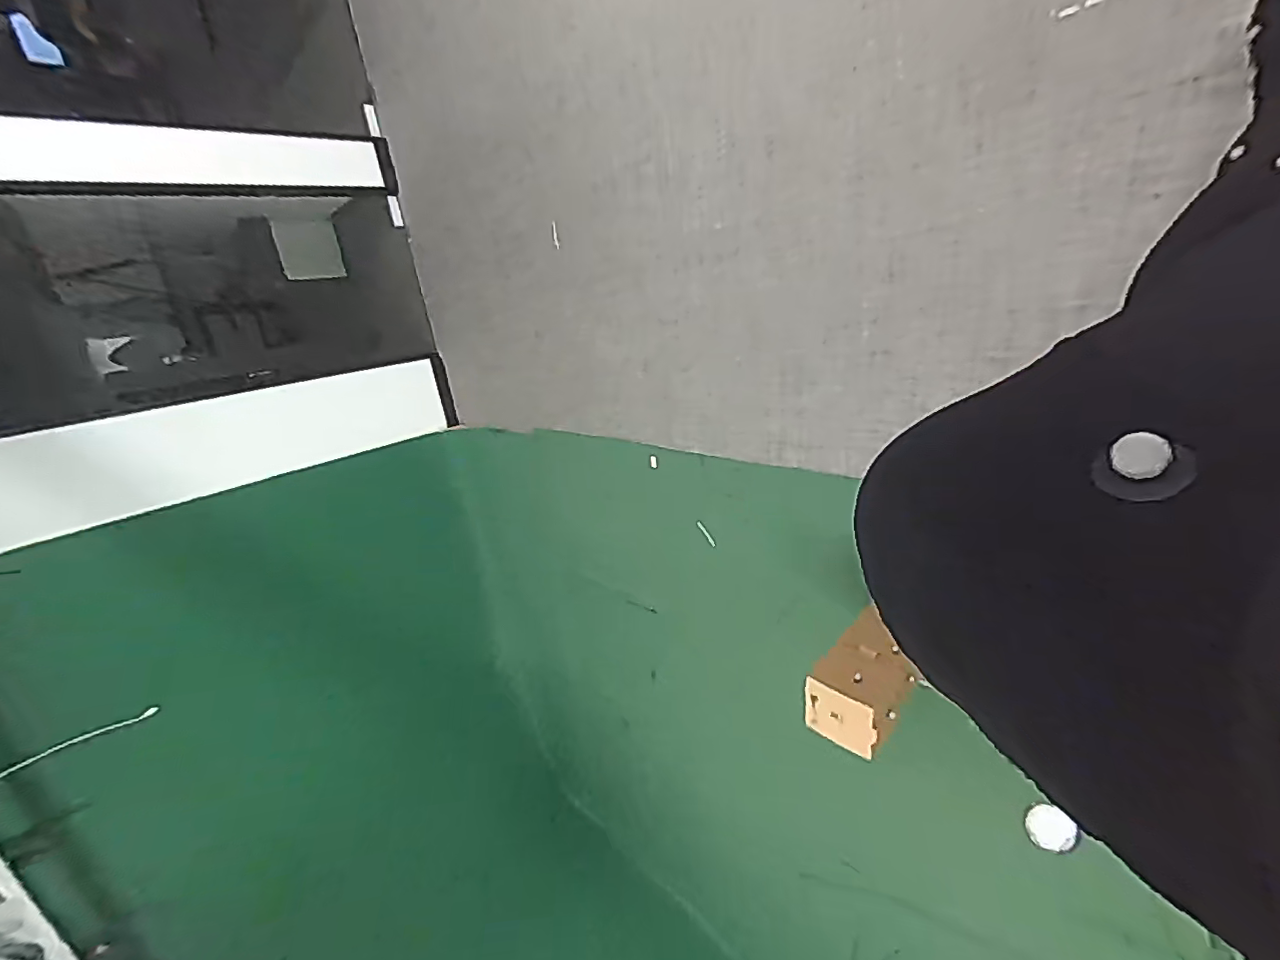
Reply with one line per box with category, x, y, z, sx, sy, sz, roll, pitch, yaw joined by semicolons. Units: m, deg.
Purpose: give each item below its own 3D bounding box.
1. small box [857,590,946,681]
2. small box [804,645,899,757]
small box;0.765;0.445;1.587;0.179;0.176;0.168;17;120;43
small box;0.538;0.550;1.374;0.179;0.176;0.168;16;120;43
